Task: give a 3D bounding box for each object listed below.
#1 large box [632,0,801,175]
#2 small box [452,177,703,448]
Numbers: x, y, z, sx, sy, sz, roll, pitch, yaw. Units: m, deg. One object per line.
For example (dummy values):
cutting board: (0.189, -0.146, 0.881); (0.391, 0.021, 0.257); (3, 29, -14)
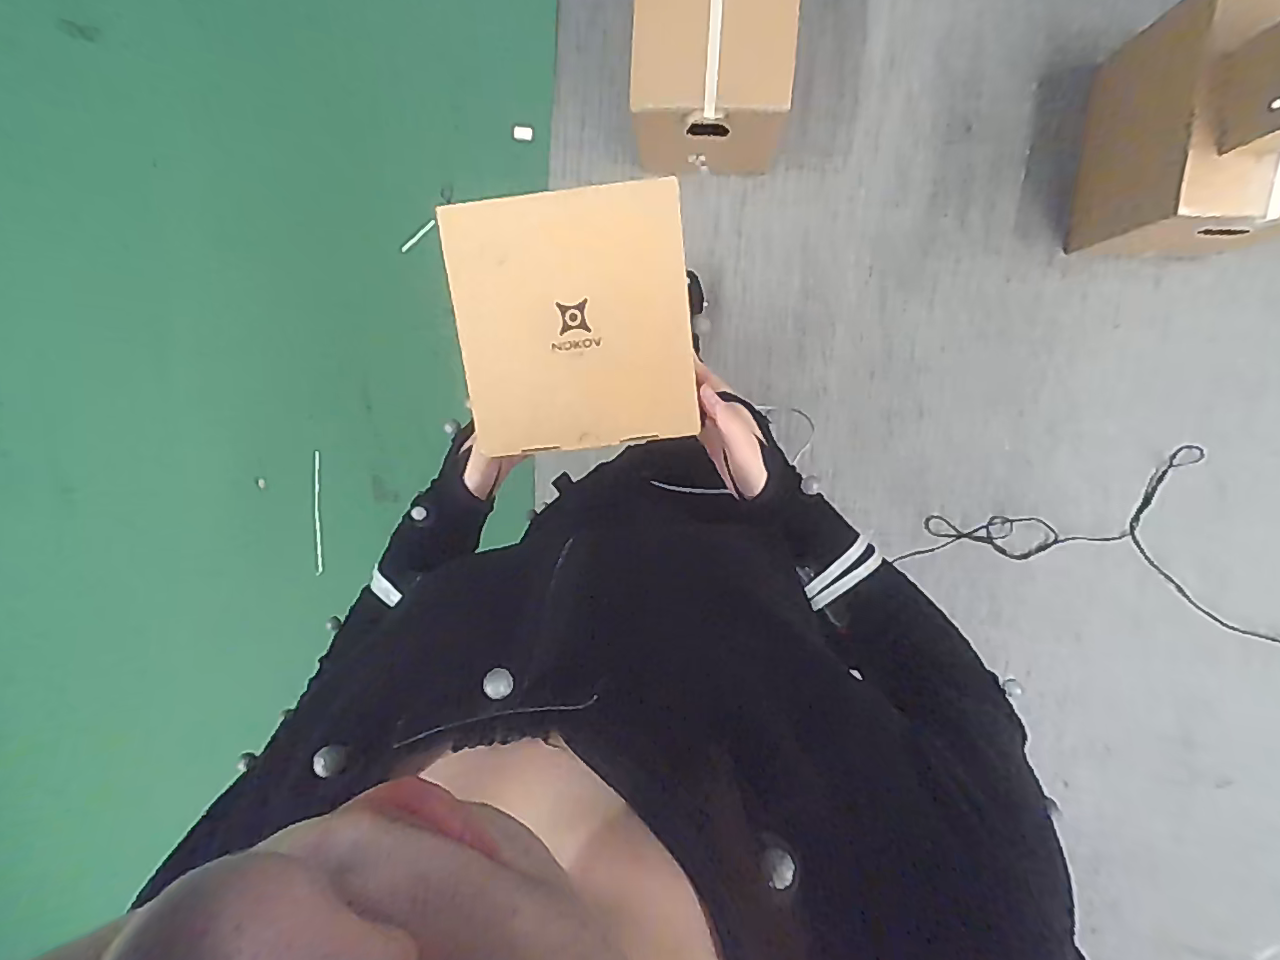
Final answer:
large box: (0.164, -0.925, 1.155); (0.320, 0.320, 0.408); (4, 99, 6)
small box: (-0.042, -0.132, 0.464); (0.168, 0.176, 0.179); (-6, 103, 2)
